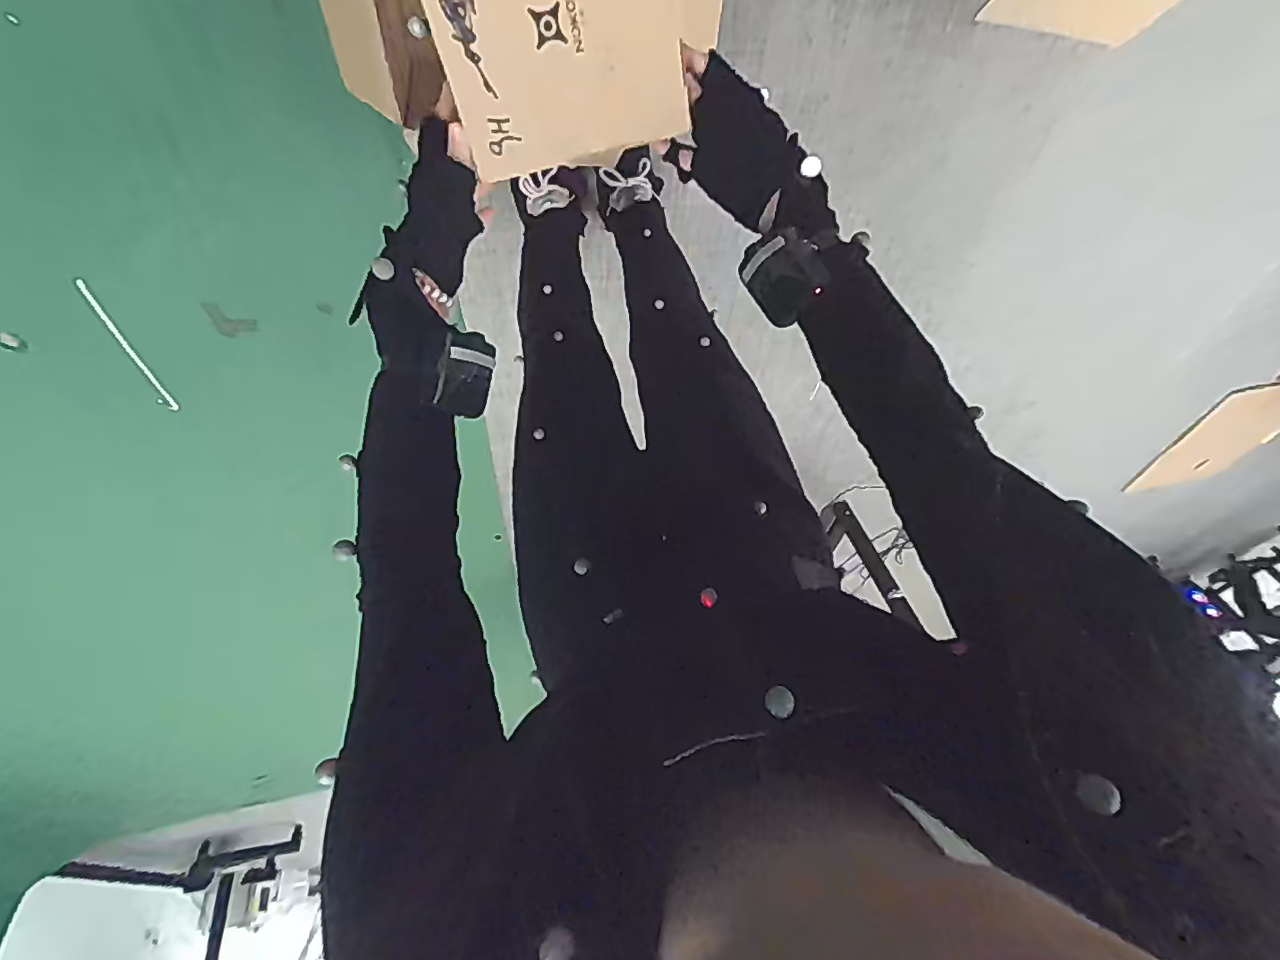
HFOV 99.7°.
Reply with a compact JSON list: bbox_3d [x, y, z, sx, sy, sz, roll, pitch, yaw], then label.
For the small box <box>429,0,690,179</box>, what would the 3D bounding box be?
[{"bbox_3d":[-0.075,-0.373,0.453,0.179,0.176,0.168,-17,127,-4],"label":"small box"}]
